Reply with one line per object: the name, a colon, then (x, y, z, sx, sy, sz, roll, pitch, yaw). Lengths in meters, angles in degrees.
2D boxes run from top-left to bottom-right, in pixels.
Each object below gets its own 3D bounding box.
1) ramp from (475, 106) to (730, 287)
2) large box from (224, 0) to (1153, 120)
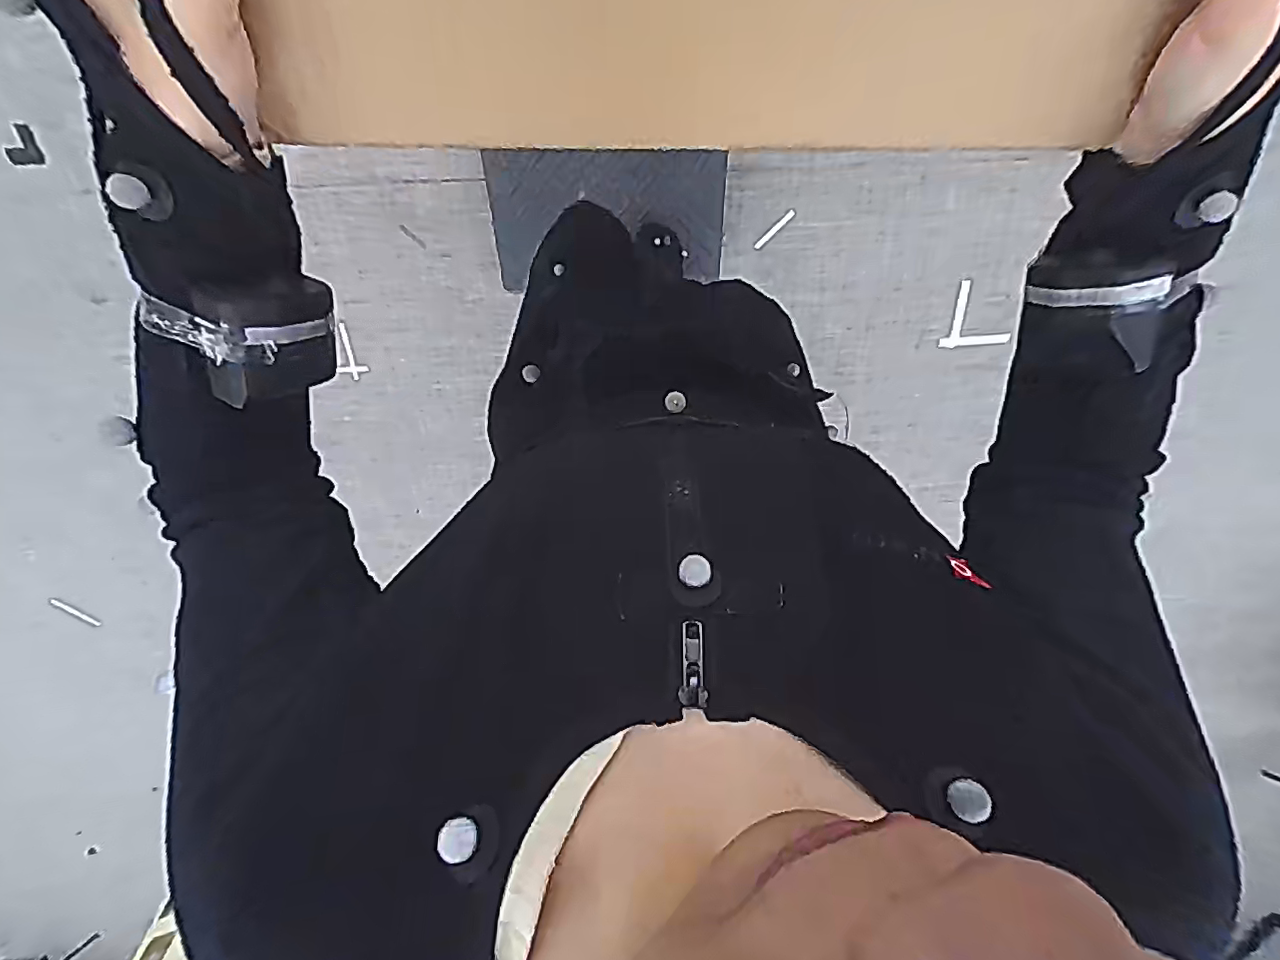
ramp: (-0.071, -0.837, 0.922, 0.509, 0.206, 0.991, -4, 119, -2)
large box: (0.018, -0.390, 0.250, 0.408, 0.320, 0.320, -1, 137, -2)
